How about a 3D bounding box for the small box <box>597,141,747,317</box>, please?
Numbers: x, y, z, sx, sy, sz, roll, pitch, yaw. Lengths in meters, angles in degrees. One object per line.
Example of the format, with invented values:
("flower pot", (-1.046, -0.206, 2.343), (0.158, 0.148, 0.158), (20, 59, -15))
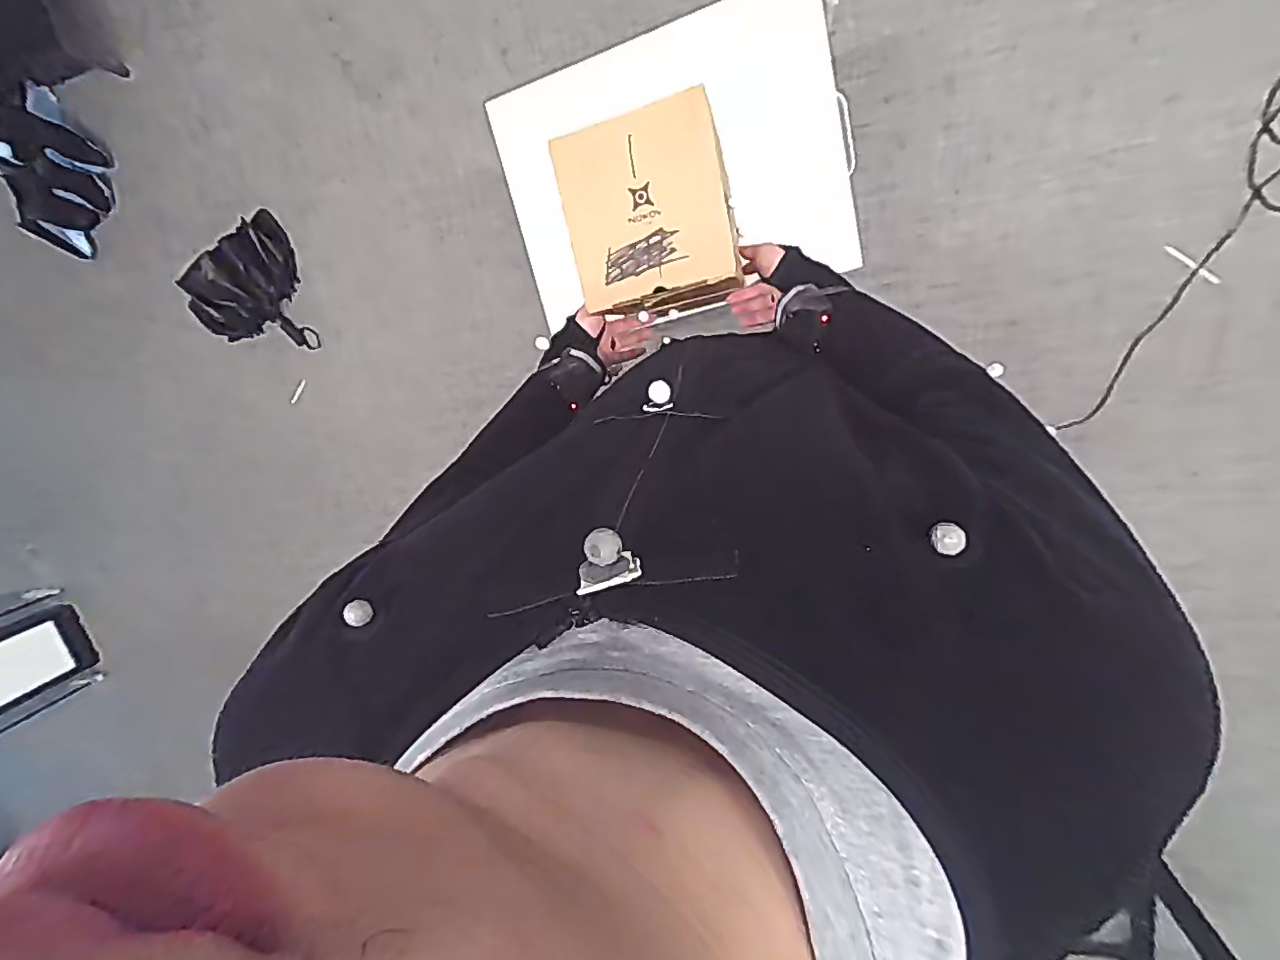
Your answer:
("small box", (0.055, -0.340, 0.773), (0.168, 0.176, 0.179), (-11, 103, 16))
